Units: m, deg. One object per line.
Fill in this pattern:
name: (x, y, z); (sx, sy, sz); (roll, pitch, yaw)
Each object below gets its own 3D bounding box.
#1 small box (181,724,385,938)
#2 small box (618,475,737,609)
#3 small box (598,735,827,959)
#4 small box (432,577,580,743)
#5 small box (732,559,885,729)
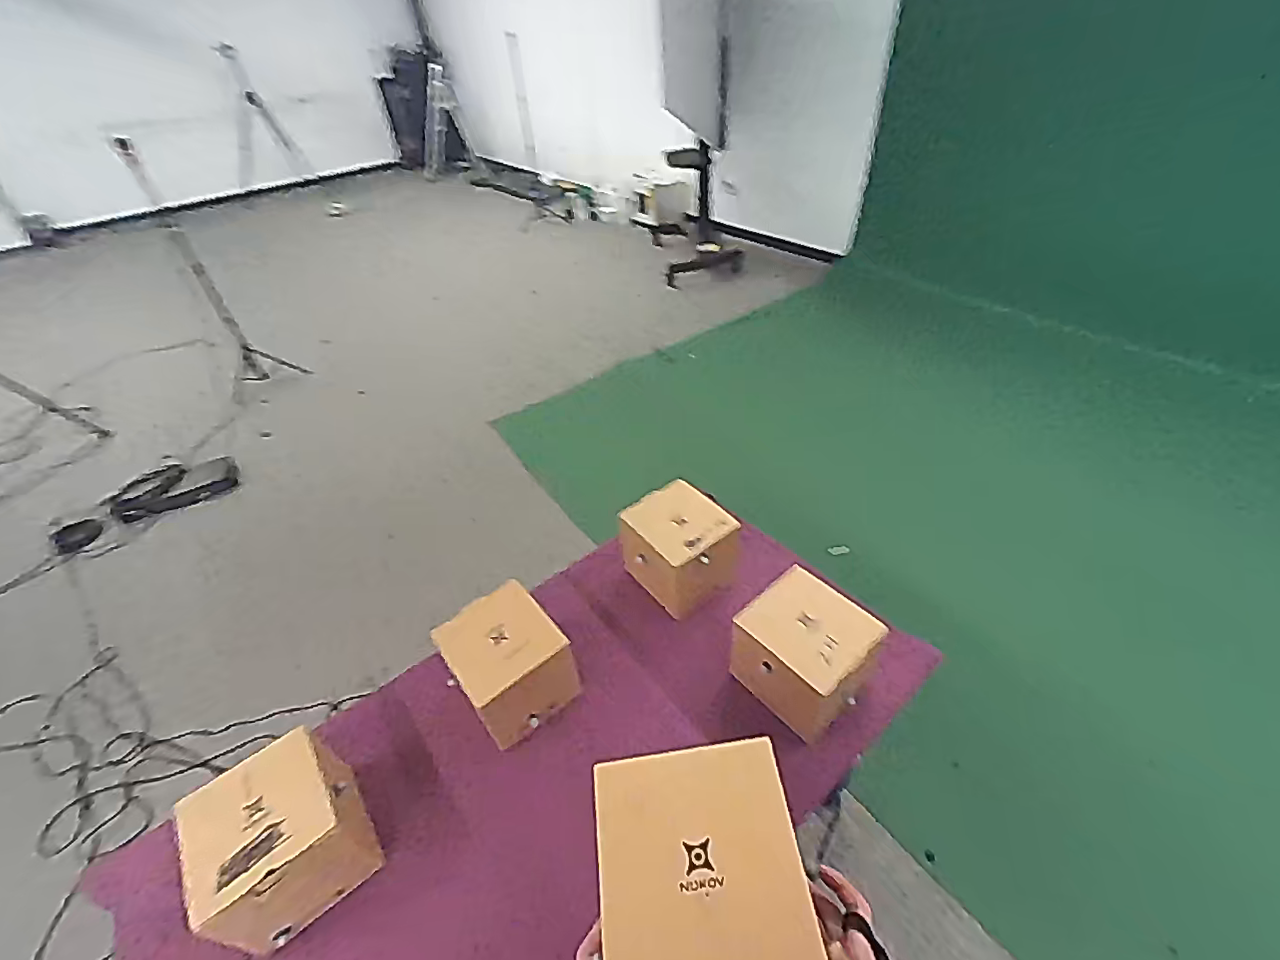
small box: (-0.489, 0.491, 0.756); (0.168, 0.176, 0.179); (-31, 47, -26)
small box: (0.077, 0.126, 1.094); (0.168, 0.176, 0.179); (-31, 47, -24)
small box: (0.056, 0.361, 0.495); (0.168, 0.176, 0.179); (-9, 47, 1)
small box: (-0.225, 0.308, 0.930); (0.168, 0.176, 0.179); (-32, 49, -25)
small box: (0.269, 0.273, 0.901); (0.168, 0.176, 0.179); (-33, 49, -25)
